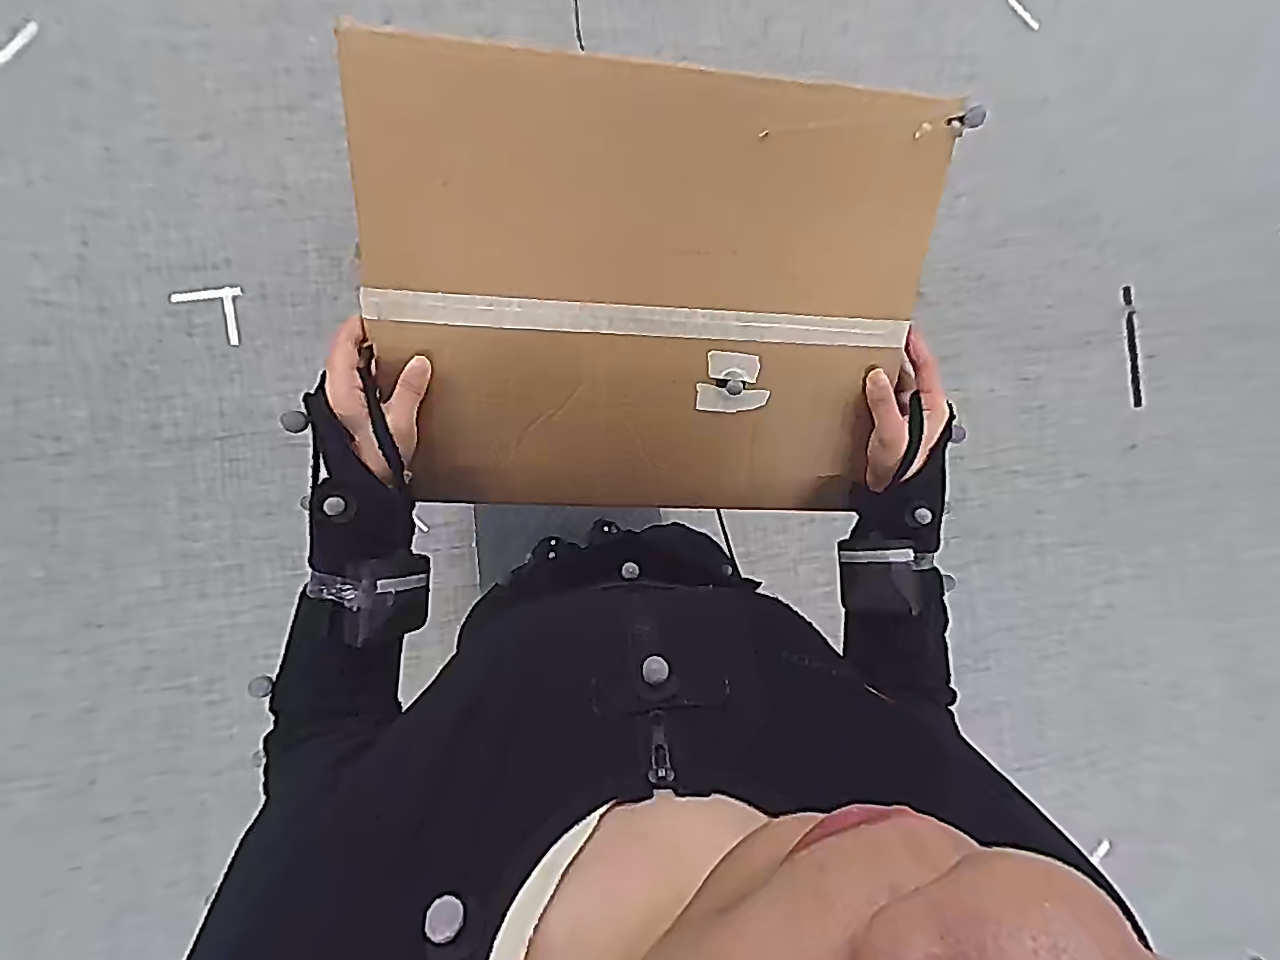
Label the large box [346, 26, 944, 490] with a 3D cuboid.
[{"bbox_3d":[-0.010,-0.191,0.544,0.408,0.320,0.320,1,114,-7],"label":"large box"}]
